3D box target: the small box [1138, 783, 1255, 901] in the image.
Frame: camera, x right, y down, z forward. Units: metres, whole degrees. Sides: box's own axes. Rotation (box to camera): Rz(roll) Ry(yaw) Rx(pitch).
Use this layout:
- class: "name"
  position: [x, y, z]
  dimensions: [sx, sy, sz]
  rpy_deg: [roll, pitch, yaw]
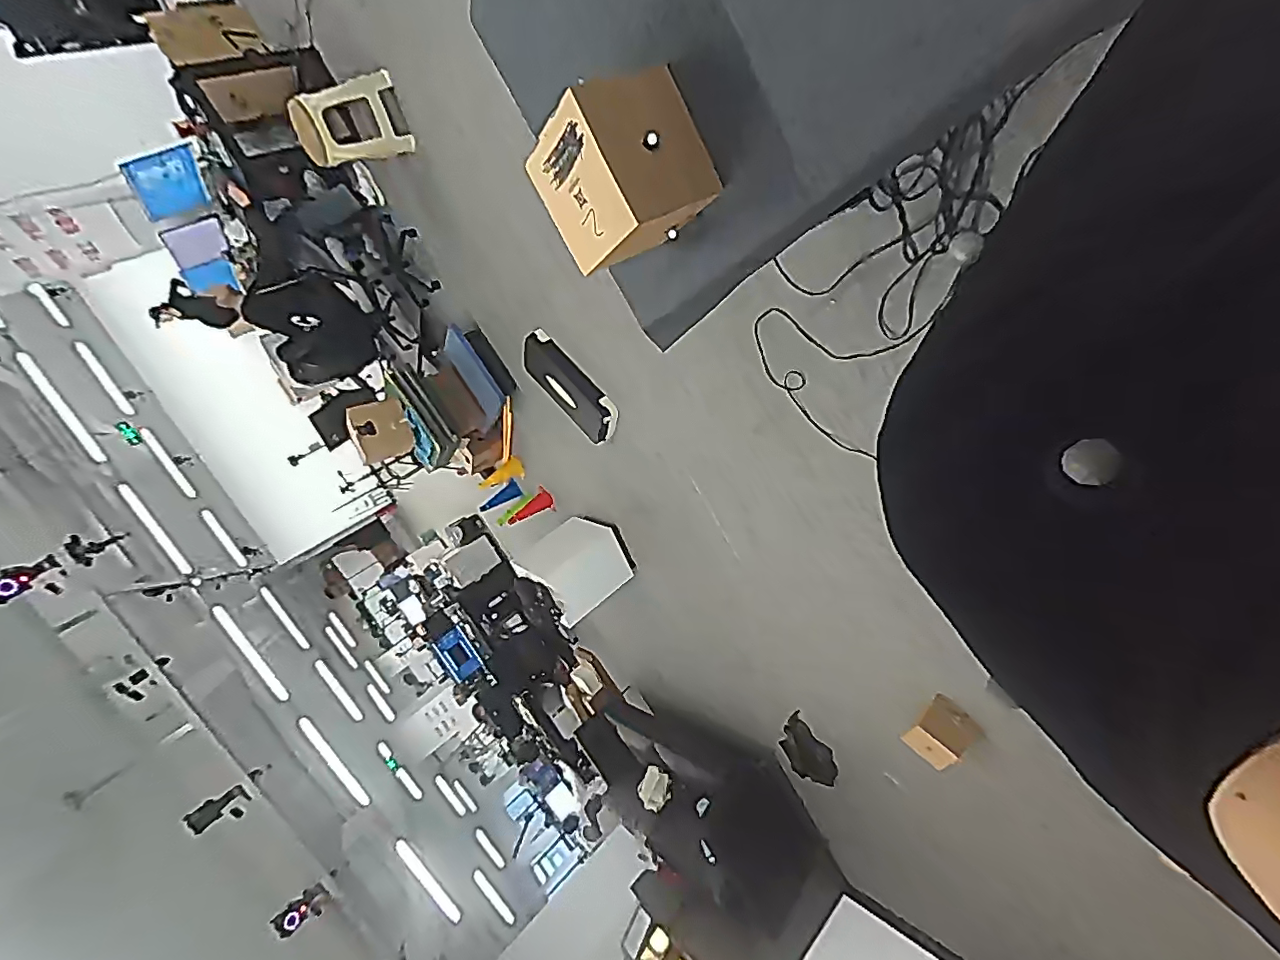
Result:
- class: "small box"
  position: [1.506, 0.963, 1.459]
  dimensions: [0.168, 0.176, 0.179]
  rpy_deg: [59, 153, -7]

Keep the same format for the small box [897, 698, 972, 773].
- class: "small box"
  position: [1.129, 0.975, 2.068]
  dimensions: [0.168, 0.176, 0.179]
  rpy_deg: [37, 147, 28]
